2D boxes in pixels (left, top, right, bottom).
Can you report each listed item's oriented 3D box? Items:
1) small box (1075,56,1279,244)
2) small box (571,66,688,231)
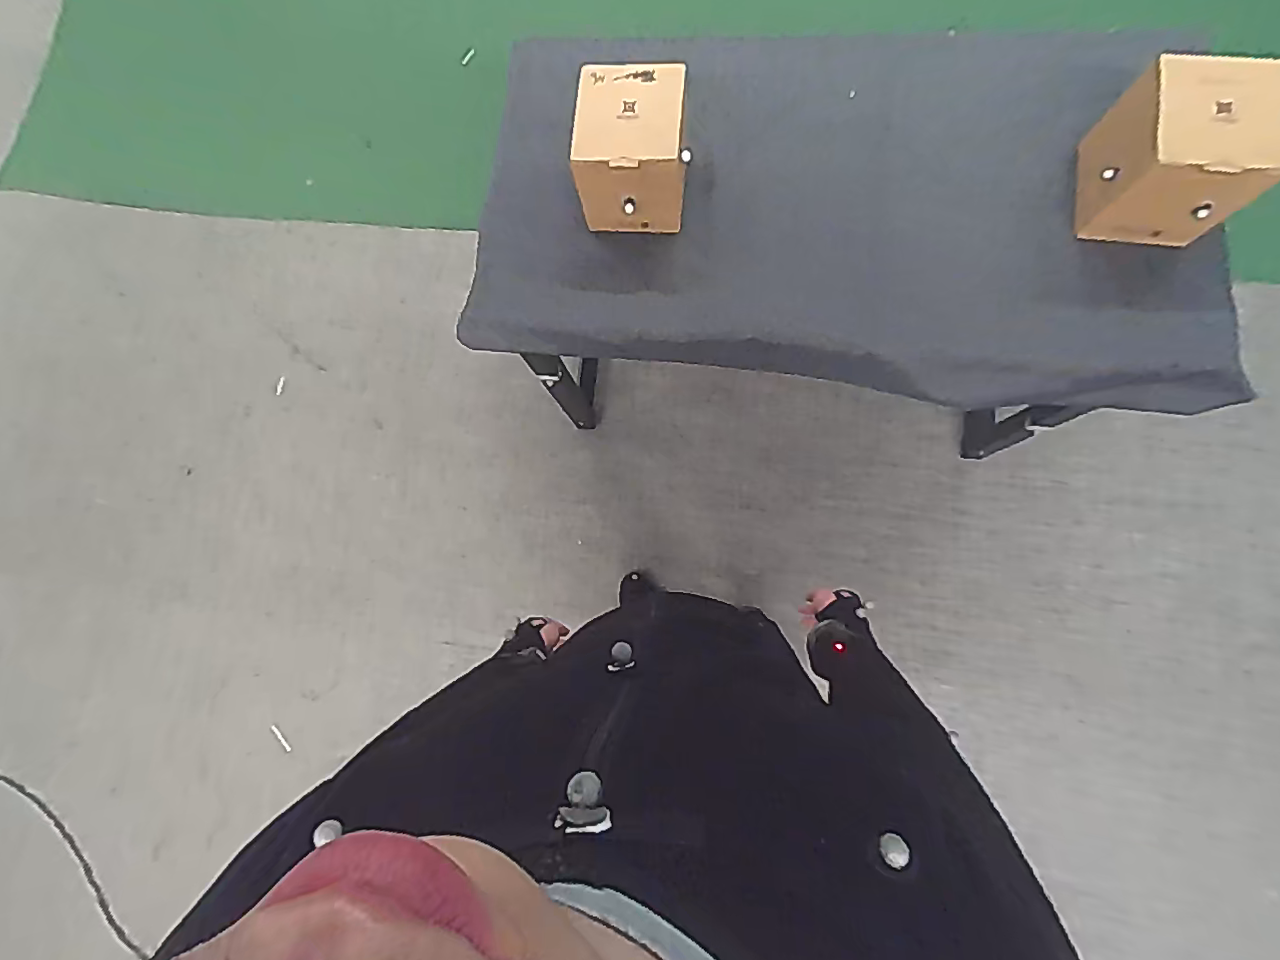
[{"bbox_3d":[0.791,-0.480,0.806,0.168,0.176,0.179,9,79,7],"label":"small box"},{"bbox_3d":[-0.009,-0.541,0.901,0.168,0.176,0.179,4,80,6],"label":"small box"}]
